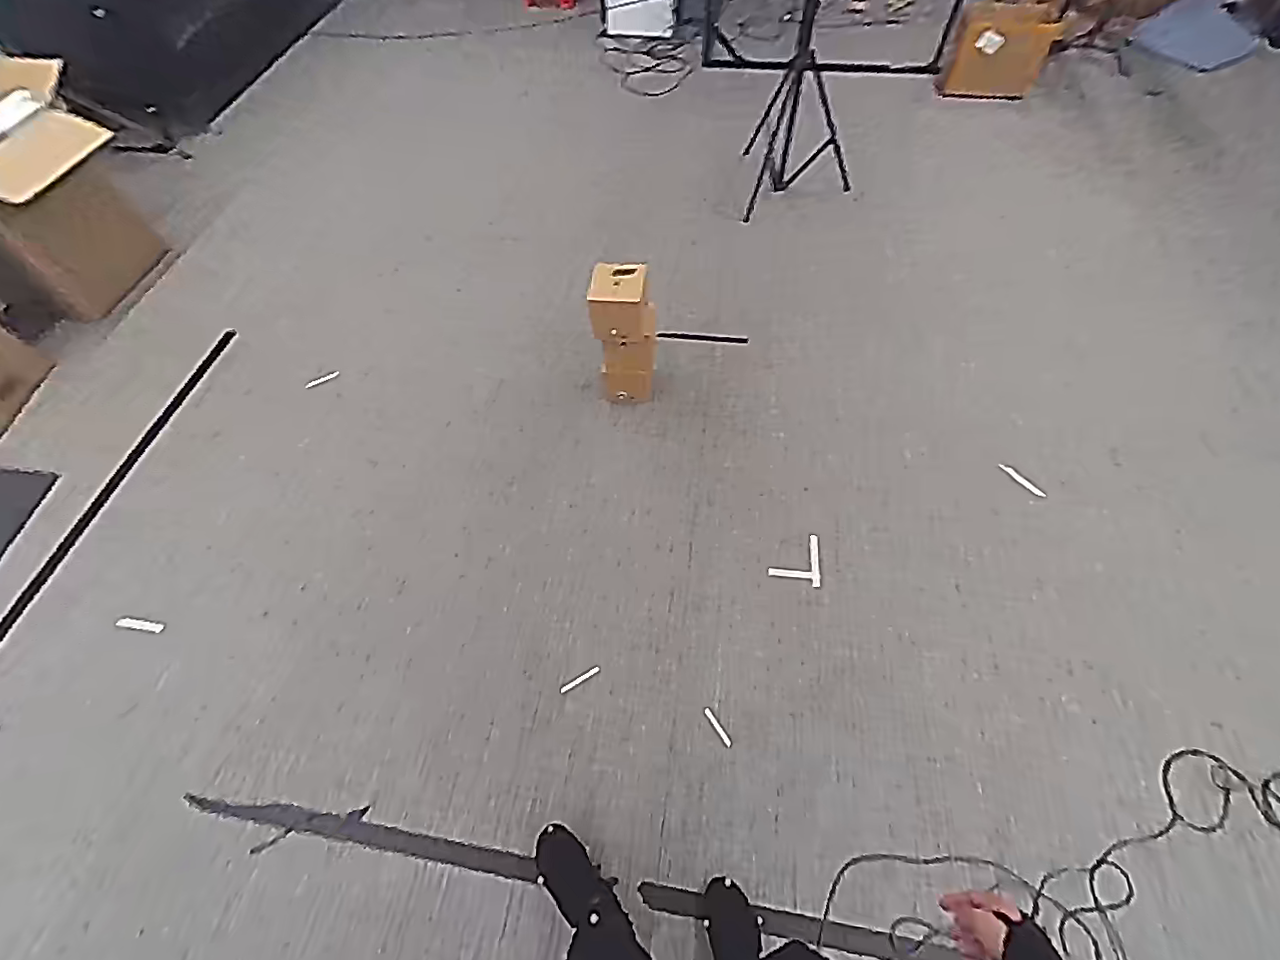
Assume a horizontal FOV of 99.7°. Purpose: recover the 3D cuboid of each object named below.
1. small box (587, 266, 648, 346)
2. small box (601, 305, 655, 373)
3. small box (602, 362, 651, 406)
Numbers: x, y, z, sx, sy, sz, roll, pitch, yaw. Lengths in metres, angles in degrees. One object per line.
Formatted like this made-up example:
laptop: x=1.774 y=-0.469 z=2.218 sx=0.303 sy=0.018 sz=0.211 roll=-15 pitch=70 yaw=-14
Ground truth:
small box: x=-0.066 y=-0.557 z=1.733 sx=0.168 sy=0.176 sz=0.179 roll=4 pitch=59 yaw=7
small box: x=-0.040 y=-0.489 z=1.883 sx=0.179 sy=0.176 sz=0.168 roll=2 pitch=58 yaw=4
small box: x=-0.046 y=-0.401 z=2.022 sx=0.168 sy=0.176 sz=0.179 roll=3 pitch=59 yaw=5
